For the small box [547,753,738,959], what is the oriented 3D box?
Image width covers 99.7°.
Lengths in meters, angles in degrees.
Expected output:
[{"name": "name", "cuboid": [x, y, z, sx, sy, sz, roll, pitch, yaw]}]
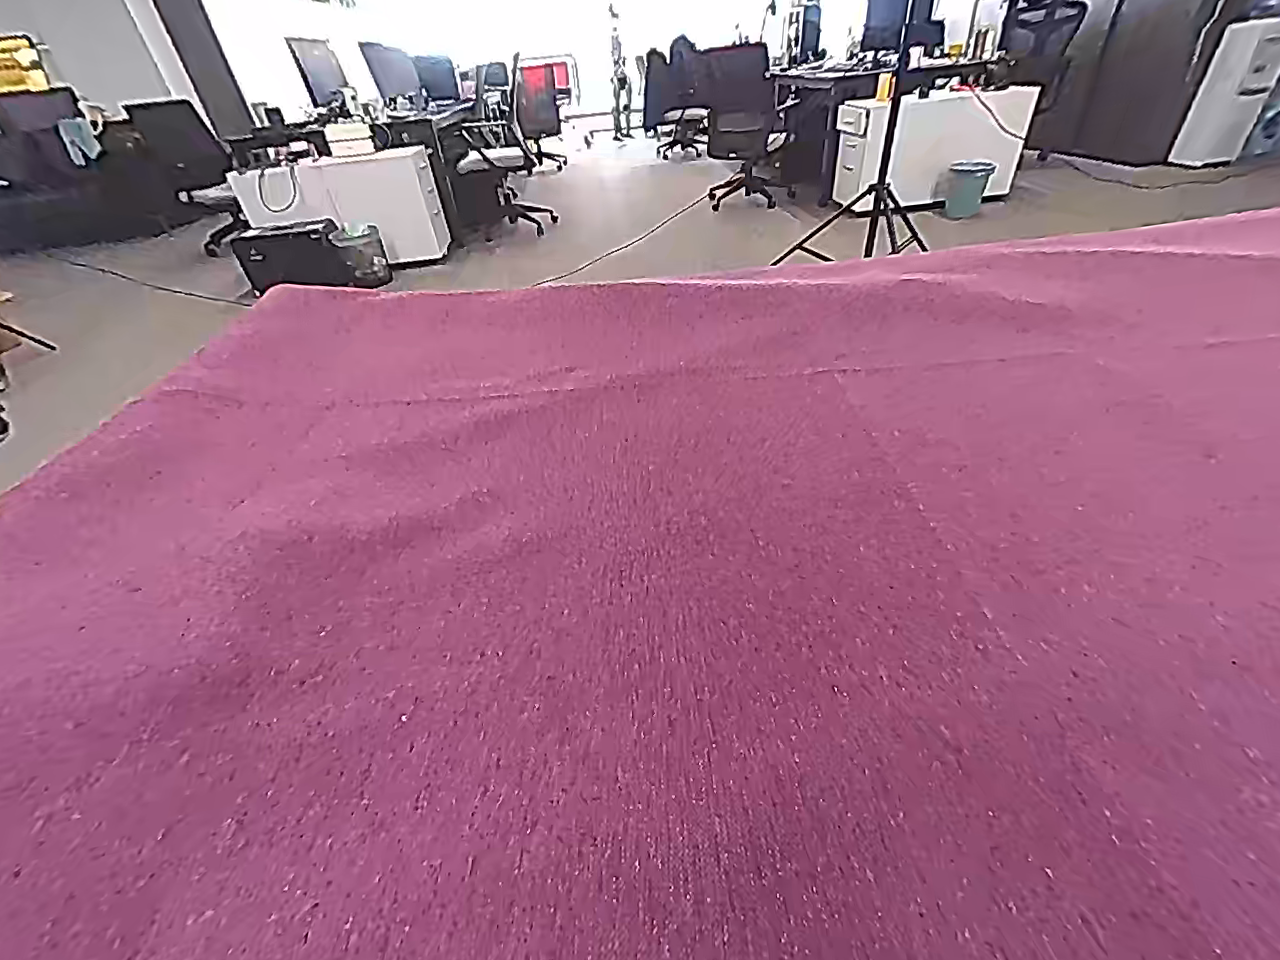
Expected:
[{"name": "small box", "cuboid": [0.001, 0.452, 0.603, 0.168, 0.176, 0.179, -16, 31, -5]}]
